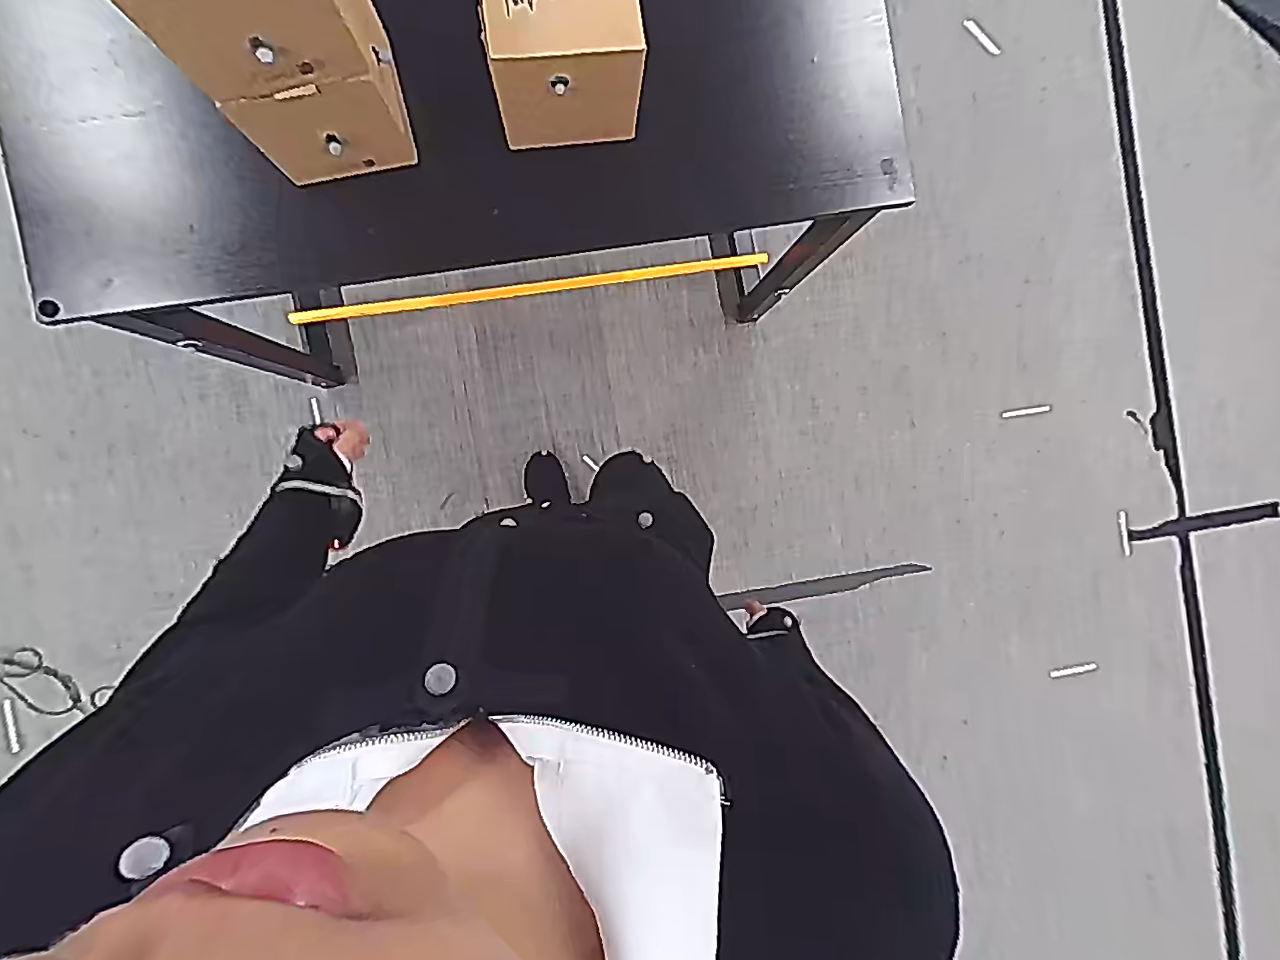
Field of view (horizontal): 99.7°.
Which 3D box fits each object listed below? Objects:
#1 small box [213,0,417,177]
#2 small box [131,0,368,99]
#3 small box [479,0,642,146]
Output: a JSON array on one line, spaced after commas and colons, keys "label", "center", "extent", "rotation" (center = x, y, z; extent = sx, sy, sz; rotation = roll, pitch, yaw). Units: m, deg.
[{"label": "small box", "center": [-0.392, -0.496, 0.653], "extent": [0.168, 0.176, 0.179], "rotation": [-14, 93, -4]}, {"label": "small box", "center": [-0.378, -0.497, 0.487], "extent": [0.168, 0.176, 0.179], "rotation": [-15, 92, -4]}, {"label": "small box", "center": [-0.098, -0.549, 0.676], "extent": [0.179, 0.176, 0.168], "rotation": [-8, 92, -5]}]
